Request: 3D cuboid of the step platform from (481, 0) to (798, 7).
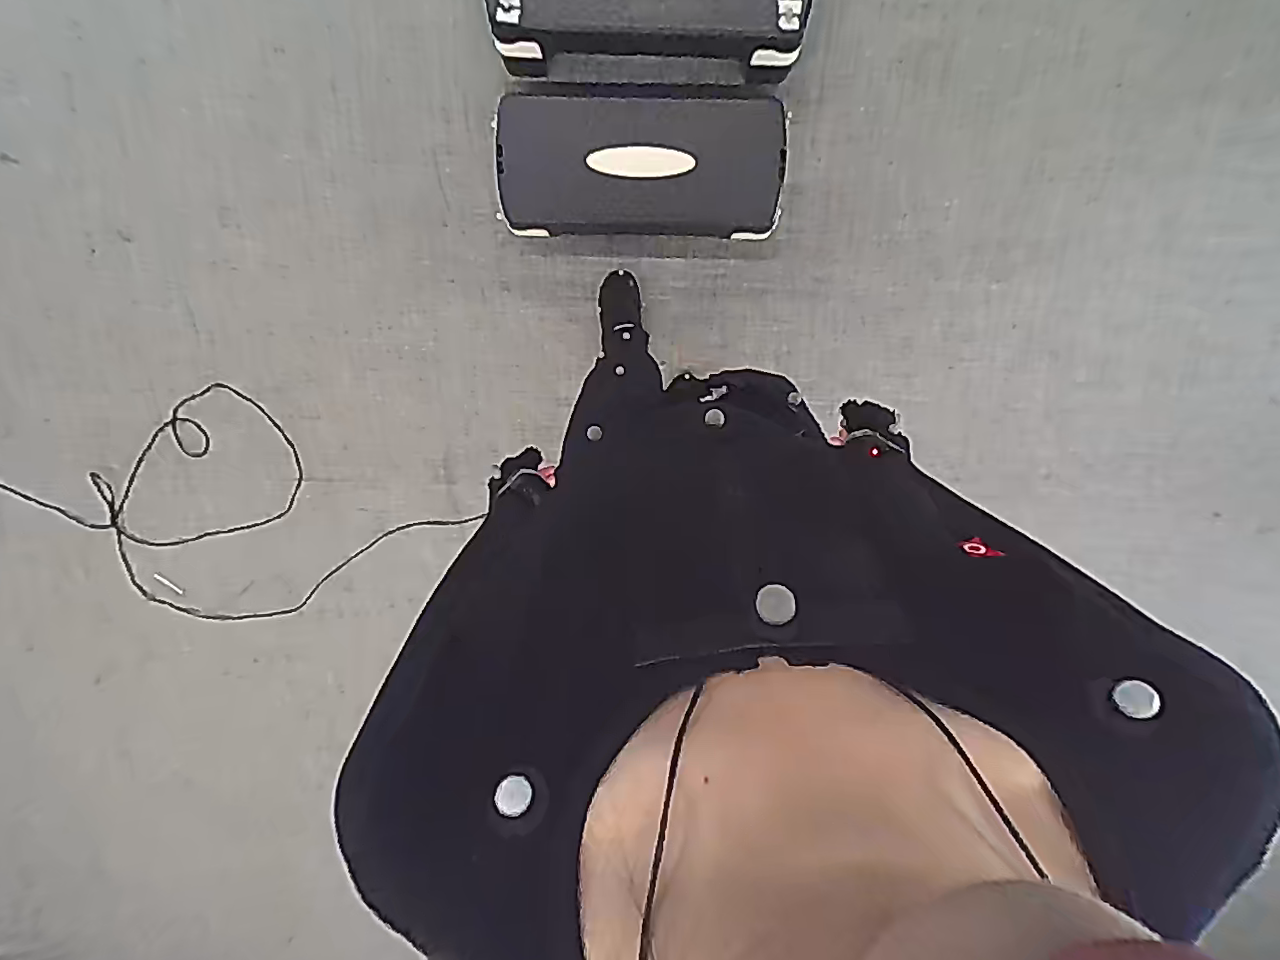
[{"bbox_3d":[-0.006,-1.022,0.925,0.684,0.204,0.286,1,105,1],"label":"step platform"}]
